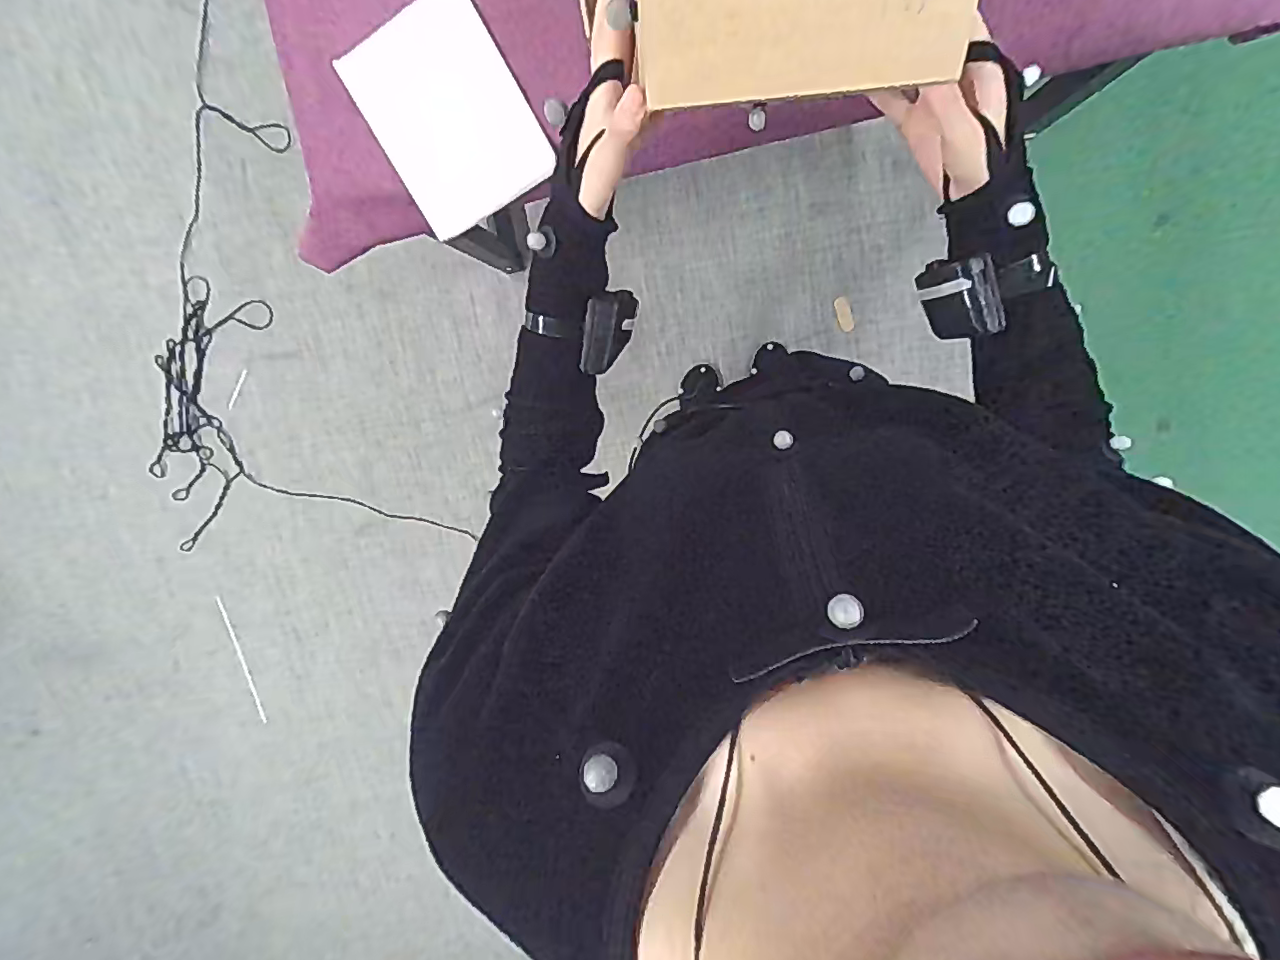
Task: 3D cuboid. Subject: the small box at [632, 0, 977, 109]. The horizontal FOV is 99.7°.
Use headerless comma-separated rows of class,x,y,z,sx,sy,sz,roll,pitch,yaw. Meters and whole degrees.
small box,0.078,-0.318,0.300,0.168,0.176,0.179,-4,123,1
